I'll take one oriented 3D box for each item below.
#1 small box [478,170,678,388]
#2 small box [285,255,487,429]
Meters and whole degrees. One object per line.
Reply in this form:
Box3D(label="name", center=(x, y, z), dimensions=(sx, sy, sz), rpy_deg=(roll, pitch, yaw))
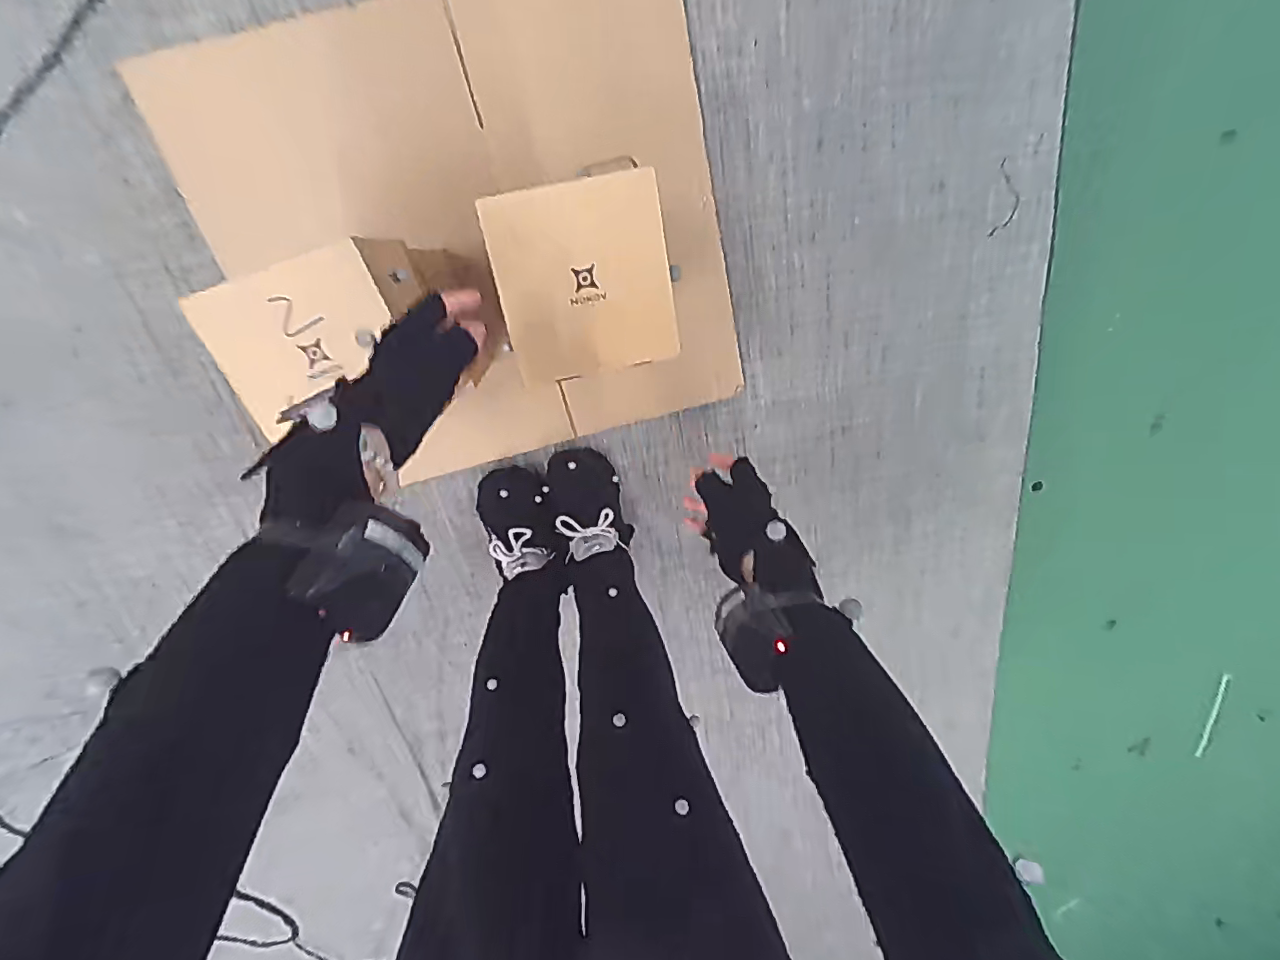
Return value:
Box3D(label="small box", center=(-0.064, -0.217, 0.592), dimensions=(0.168, 0.176, 0.179), rpy_deg=(-12, 114, -2))
Box3D(label="small box", center=(-0.324, -0.195, 0.738), dimensions=(0.168, 0.176, 0.179), rpy_deg=(-19, 113, 0))
